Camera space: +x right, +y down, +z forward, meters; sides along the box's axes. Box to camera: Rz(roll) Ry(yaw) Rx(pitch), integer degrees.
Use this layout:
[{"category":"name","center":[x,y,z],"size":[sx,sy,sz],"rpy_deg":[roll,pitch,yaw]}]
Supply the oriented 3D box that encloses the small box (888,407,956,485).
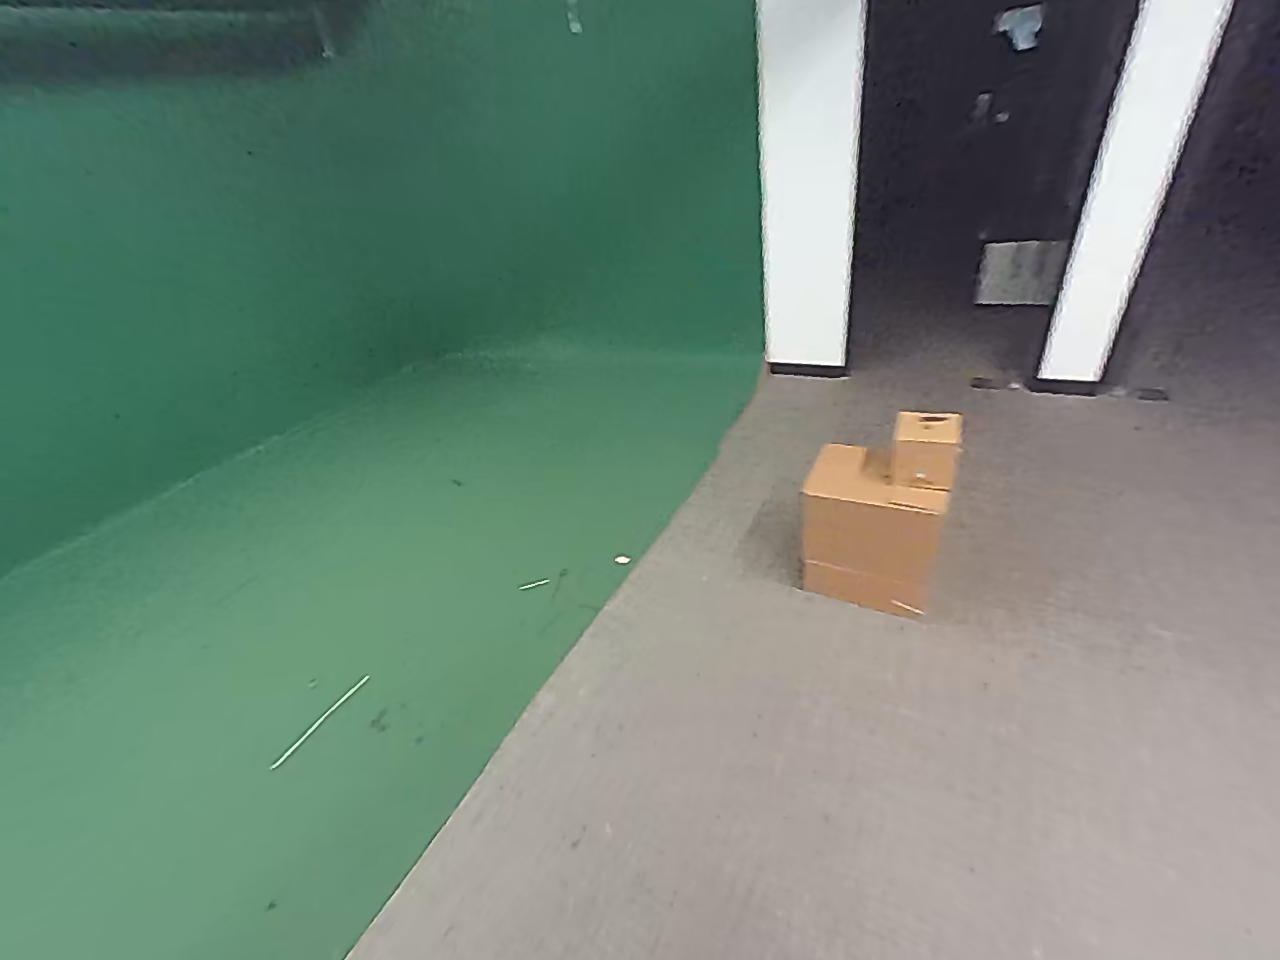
[{"category":"small box","center":[0.867,-0.107,1.666],"size":[0.168,0.176,0.179],"rpy_deg":[7,39,27]}]
